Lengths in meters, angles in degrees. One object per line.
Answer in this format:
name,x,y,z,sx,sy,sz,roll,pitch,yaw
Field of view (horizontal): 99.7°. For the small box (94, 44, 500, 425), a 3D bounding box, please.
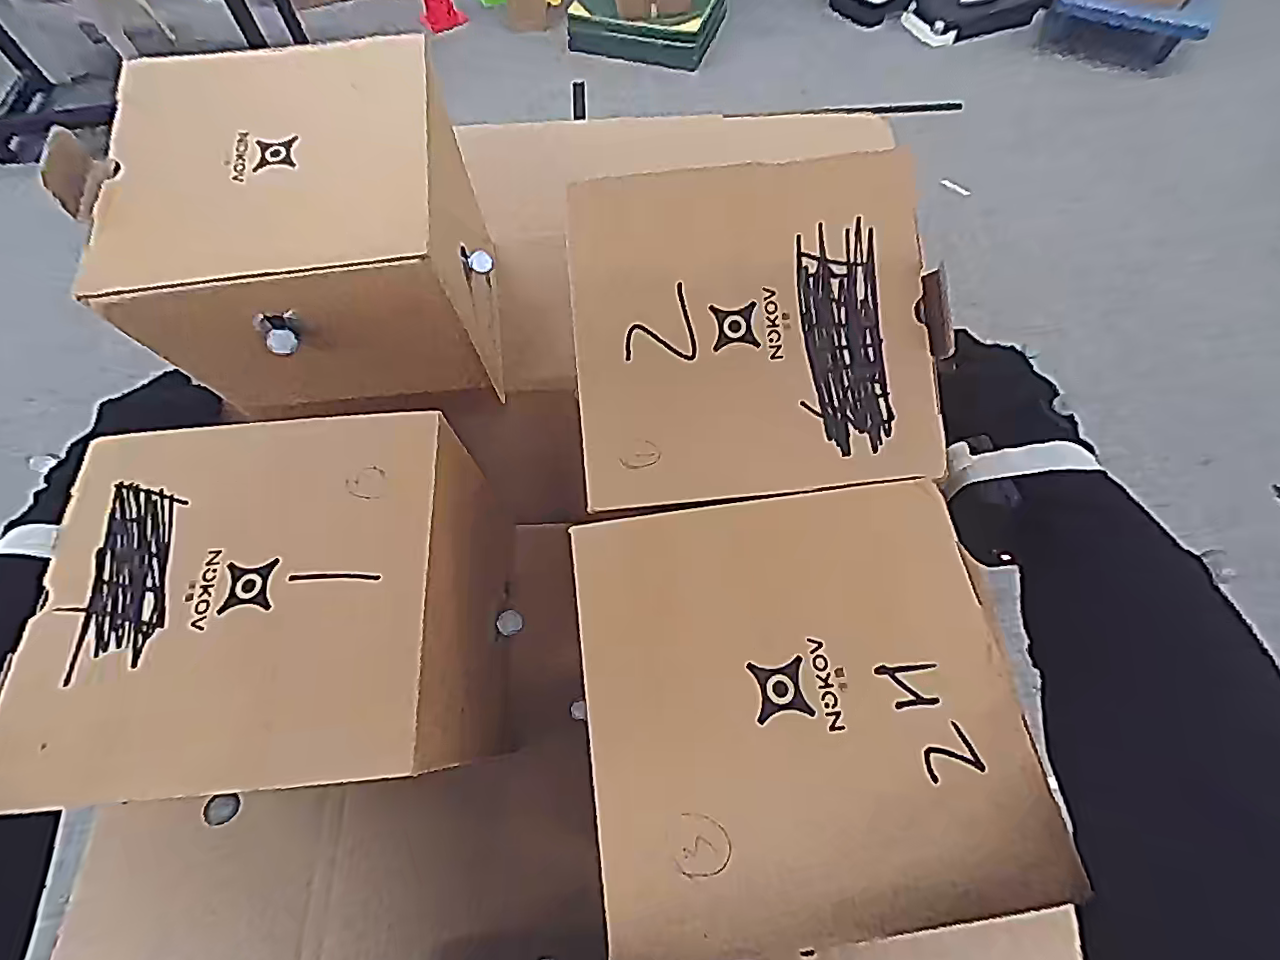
small box,-0.202,-0.153,0.379,0.179,0.176,0.168,-8,71,-2
